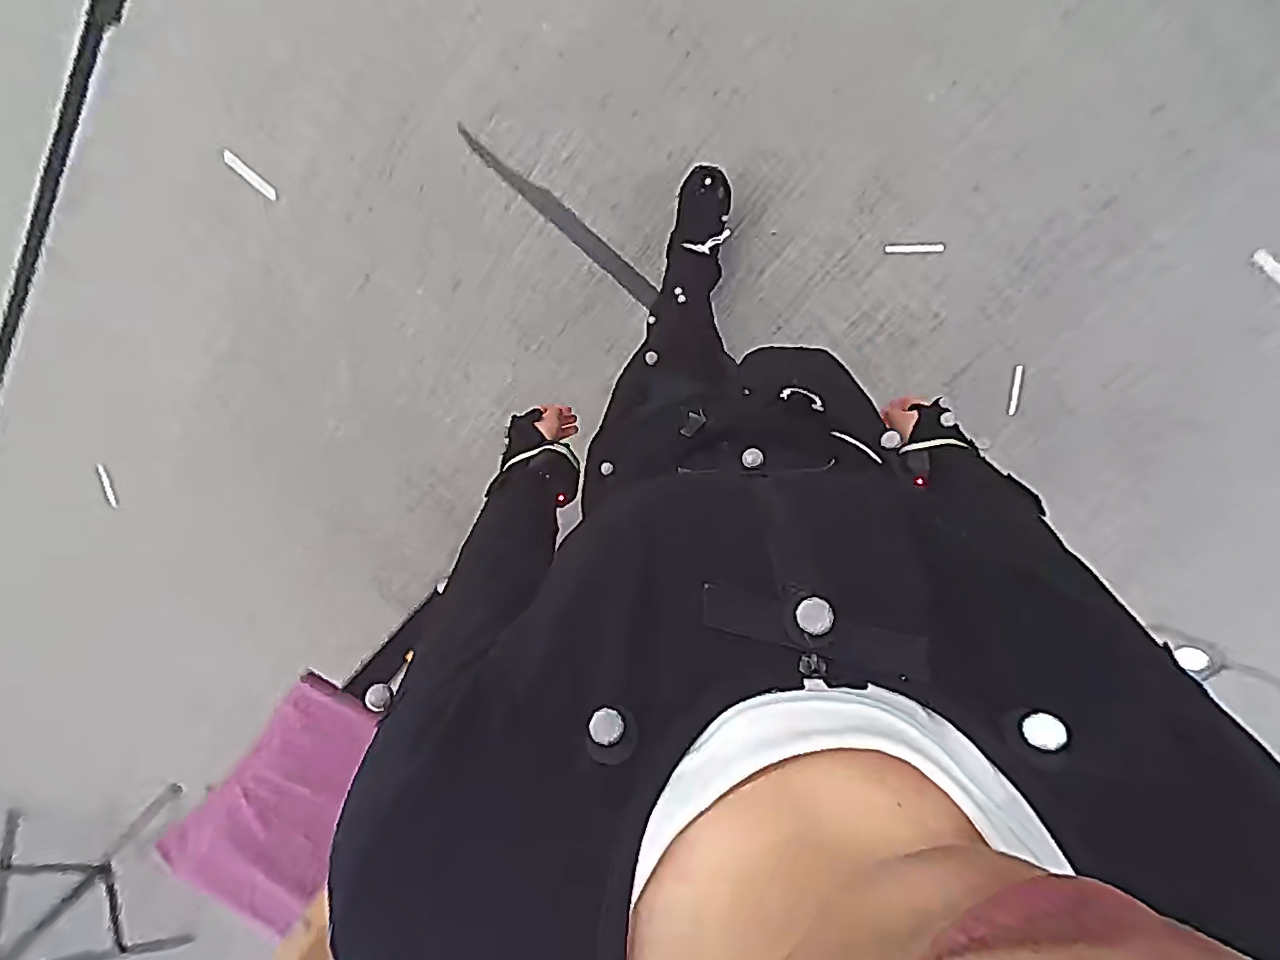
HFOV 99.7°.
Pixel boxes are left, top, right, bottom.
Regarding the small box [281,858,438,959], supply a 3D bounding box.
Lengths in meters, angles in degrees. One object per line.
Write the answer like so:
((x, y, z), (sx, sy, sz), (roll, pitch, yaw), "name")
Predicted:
((-0.460, 0.764, 0.867), (0.168, 0.176, 0.179), (43, 108, -7), "small box")
